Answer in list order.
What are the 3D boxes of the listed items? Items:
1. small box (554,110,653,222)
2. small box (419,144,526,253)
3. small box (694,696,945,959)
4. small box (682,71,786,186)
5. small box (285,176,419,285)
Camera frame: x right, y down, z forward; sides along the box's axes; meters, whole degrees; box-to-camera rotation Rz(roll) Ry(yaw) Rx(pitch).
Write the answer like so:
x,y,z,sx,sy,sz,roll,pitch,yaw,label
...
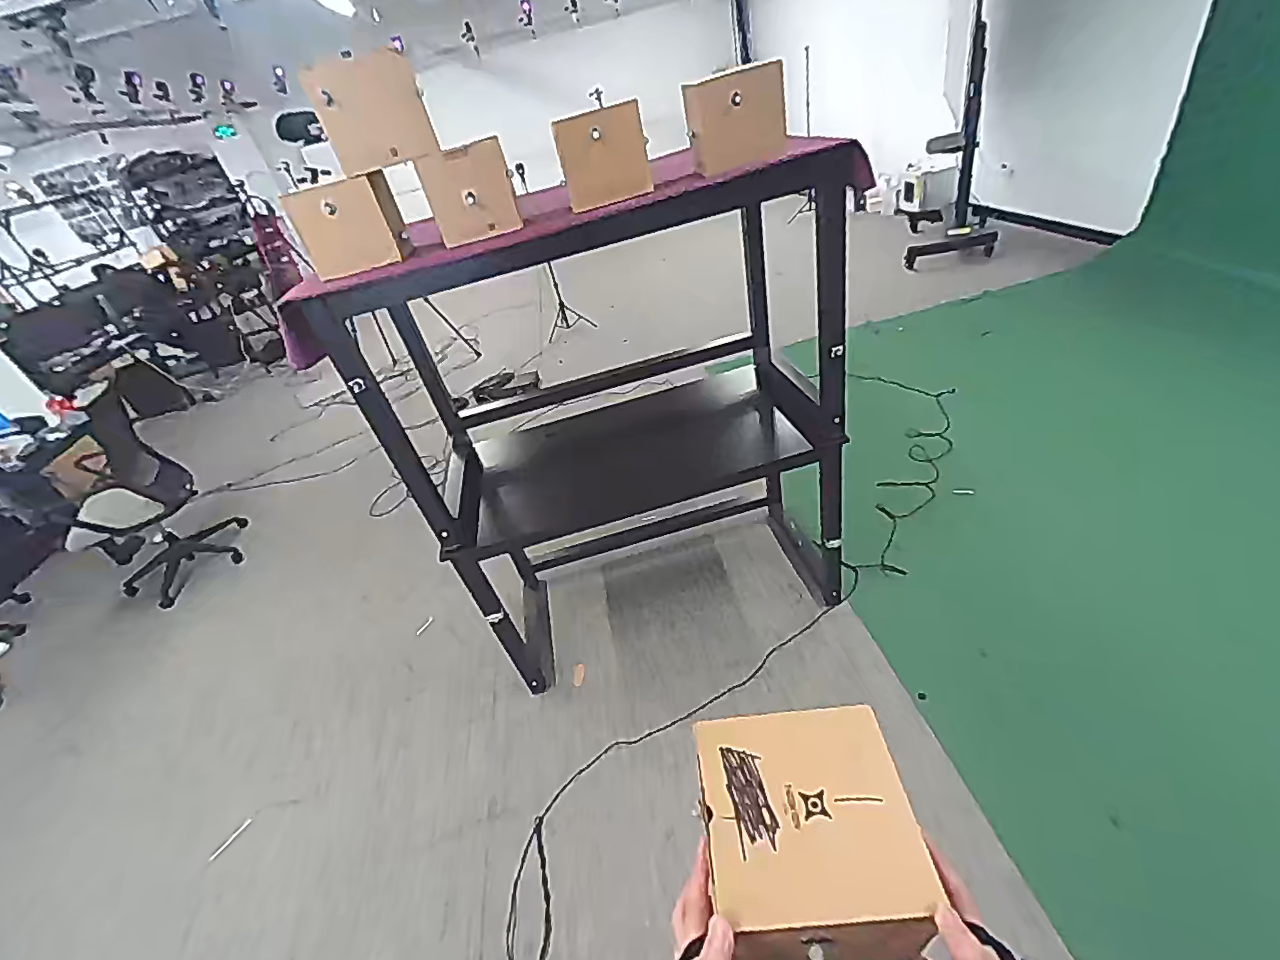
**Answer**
x,y,z,sx,sy,sz,roll,pitch,yaw,label
-0.076,-0.676,1.164,0.179,0.176,0.168,-16,34,0,small box
-0.348,-0.600,1.157,0.168,0.176,0.179,-16,35,-2,small box
0.152,0.334,0.516,0.179,0.176,0.168,-7,38,2,small box
0.202,-0.751,1.163,0.179,0.176,0.168,-14,36,2,small box
-0.600,-0.530,1.152,0.179,0.176,0.168,-16,35,-3,small box
